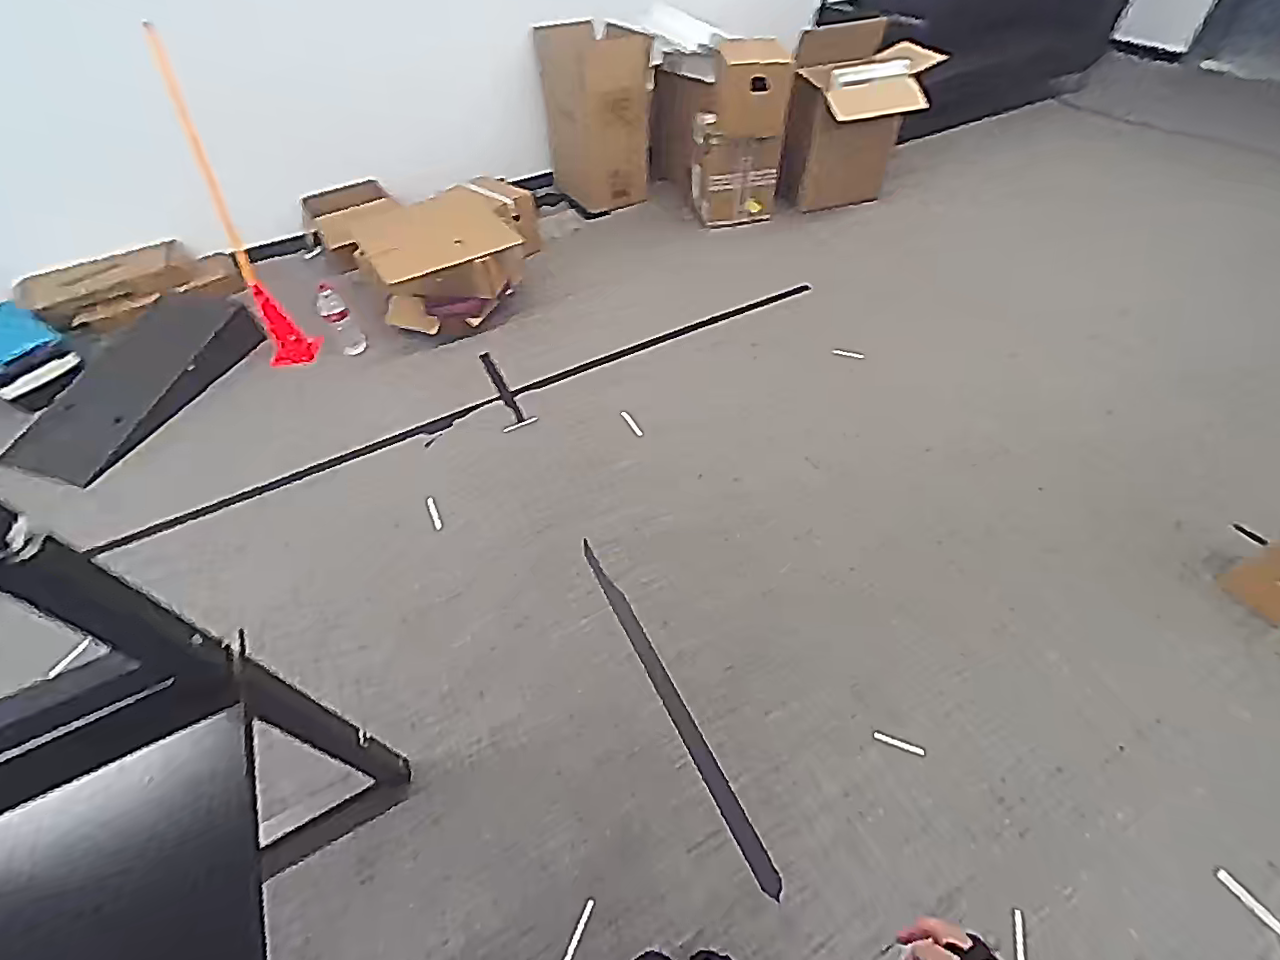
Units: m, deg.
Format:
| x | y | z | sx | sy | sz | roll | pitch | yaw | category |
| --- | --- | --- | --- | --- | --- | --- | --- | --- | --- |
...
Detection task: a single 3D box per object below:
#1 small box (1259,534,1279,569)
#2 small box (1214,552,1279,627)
| x | y | z | sx | sy | sz | roll | pitch | yaw | category |
| --- | --- | --- | --- | --- | --- | --- | --- | --- | --- |
| 1.769 | 0.174 | 1.374 | 0.168 | 0.176 | 0.179 | -22 | 51 | -14 | small box |
| 1.783 | 0.285 | 1.494 | 0.168 | 0.176 | 0.179 | -24 | 52 | -16 | small box |
